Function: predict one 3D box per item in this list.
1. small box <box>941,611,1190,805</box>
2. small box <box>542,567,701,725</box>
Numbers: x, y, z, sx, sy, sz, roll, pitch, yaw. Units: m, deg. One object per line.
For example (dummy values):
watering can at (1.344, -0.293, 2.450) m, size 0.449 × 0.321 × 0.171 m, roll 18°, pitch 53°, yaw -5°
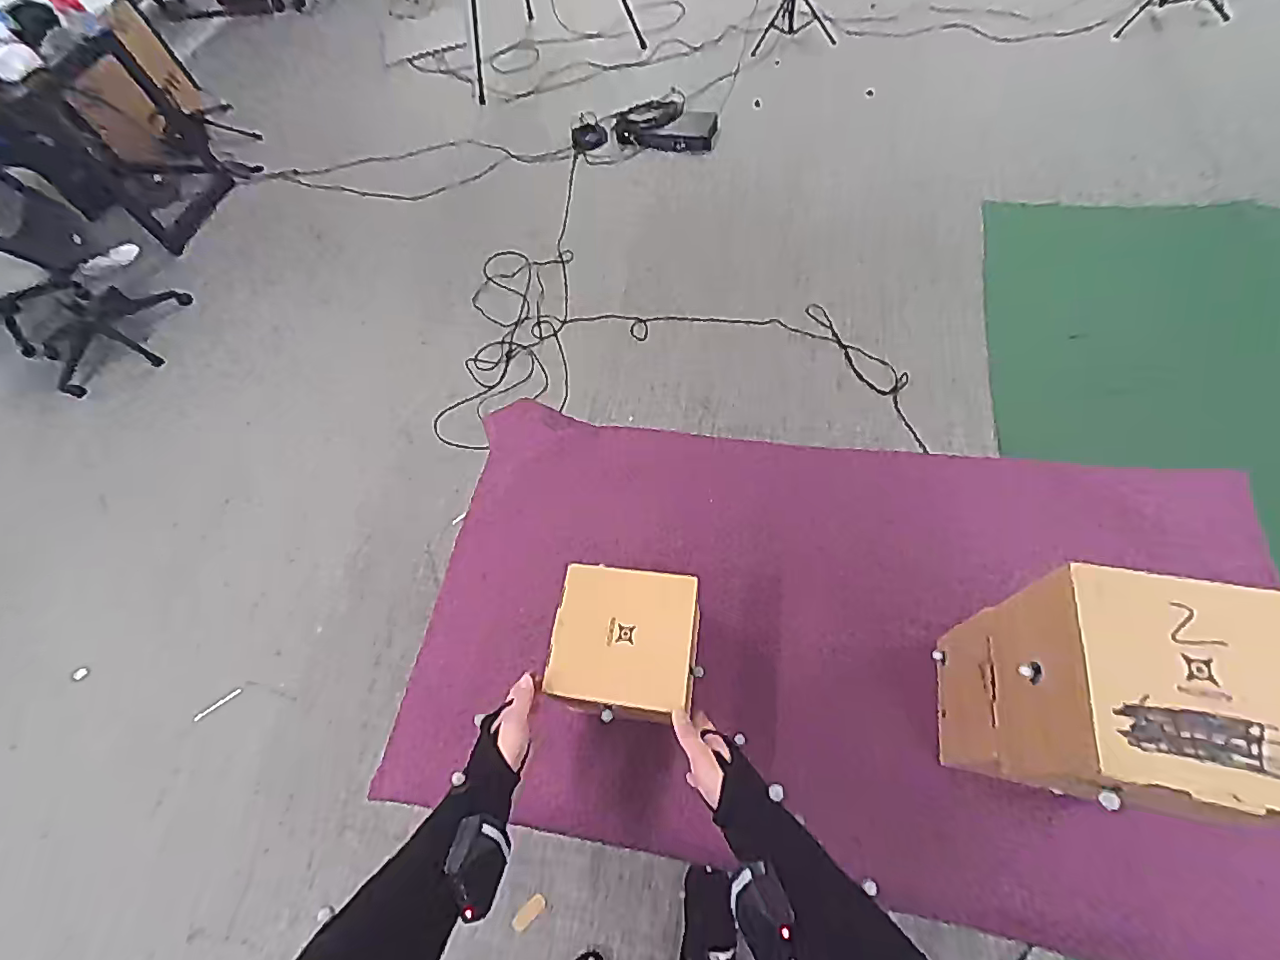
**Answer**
small box at (0.477, 0.272, 0.645) m, size 0.179 × 0.176 × 0.168 m, roll 8°, pitch 63°, yaw 12°
small box at (-0.011, 0.231, 0.738) m, size 0.179 × 0.176 × 0.168 m, roll 4°, pitch 62°, yaw 11°
